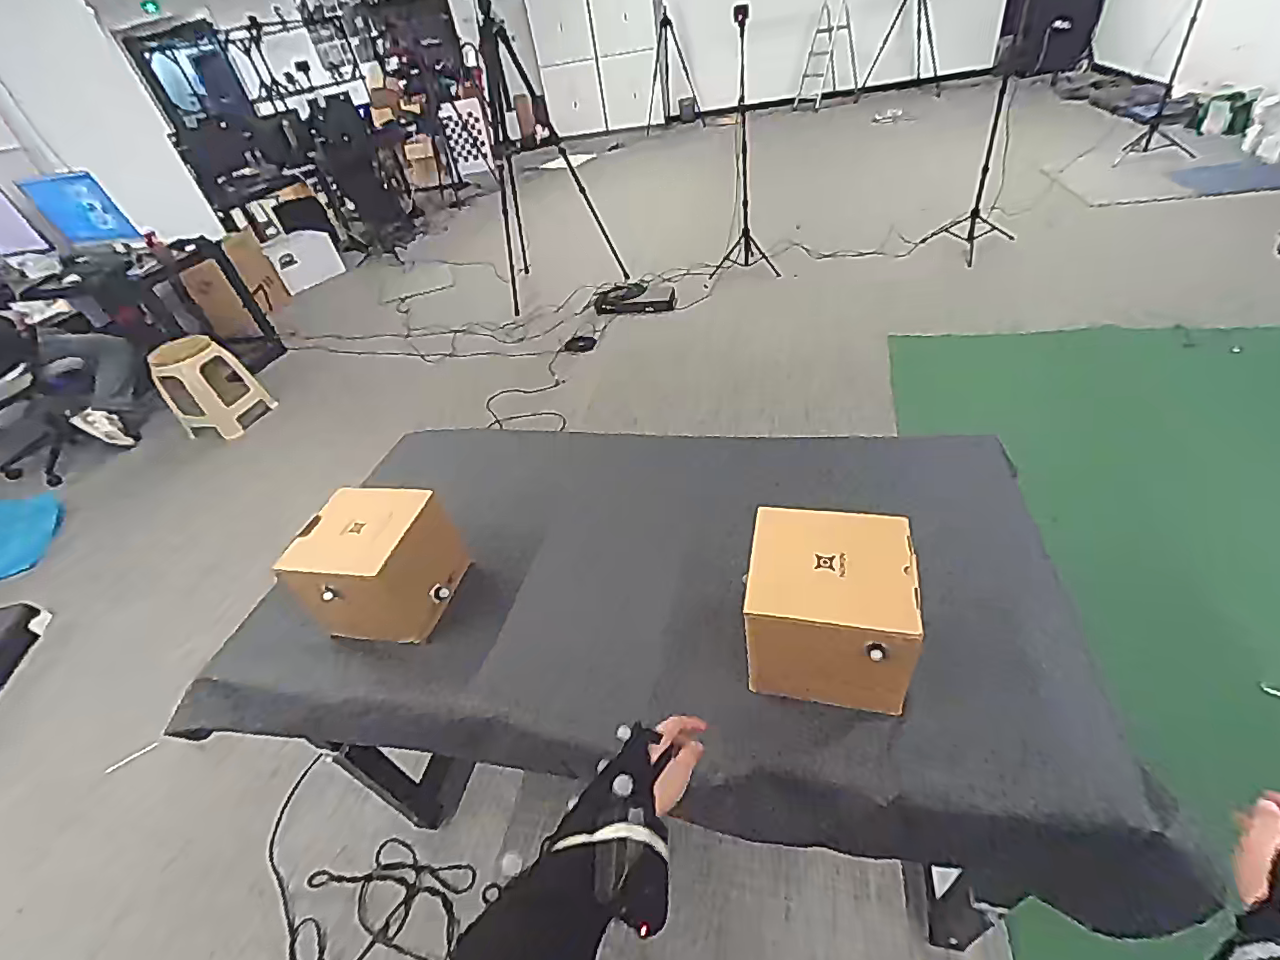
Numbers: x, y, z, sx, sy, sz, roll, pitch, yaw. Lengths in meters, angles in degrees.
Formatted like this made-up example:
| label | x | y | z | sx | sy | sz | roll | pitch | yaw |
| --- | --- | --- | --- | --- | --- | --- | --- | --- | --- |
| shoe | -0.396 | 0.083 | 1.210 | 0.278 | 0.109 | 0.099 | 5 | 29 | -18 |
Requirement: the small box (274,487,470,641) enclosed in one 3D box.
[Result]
| label | x | y | z | sx | sy | sz | roll | pitch | yaw |
| --- | --- | --- | --- | --- | --- | --- | --- | --- | --- |
| small box | -0.394 | 0.129 | 0.829 | 0.179 | 0.176 | 0.168 | 2 | 43 | 14 |

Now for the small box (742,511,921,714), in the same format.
| label | x | y | z | sx | sy | sz | roll | pitch | yaw |
| --- | --- | --- | --- | --- | --- | --- | --- | --- | --- |
| small box | 0.224 | 0.157 | 0.653 | 0.179 | 0.176 | 0.168 | 4 | 42 | 17 |
